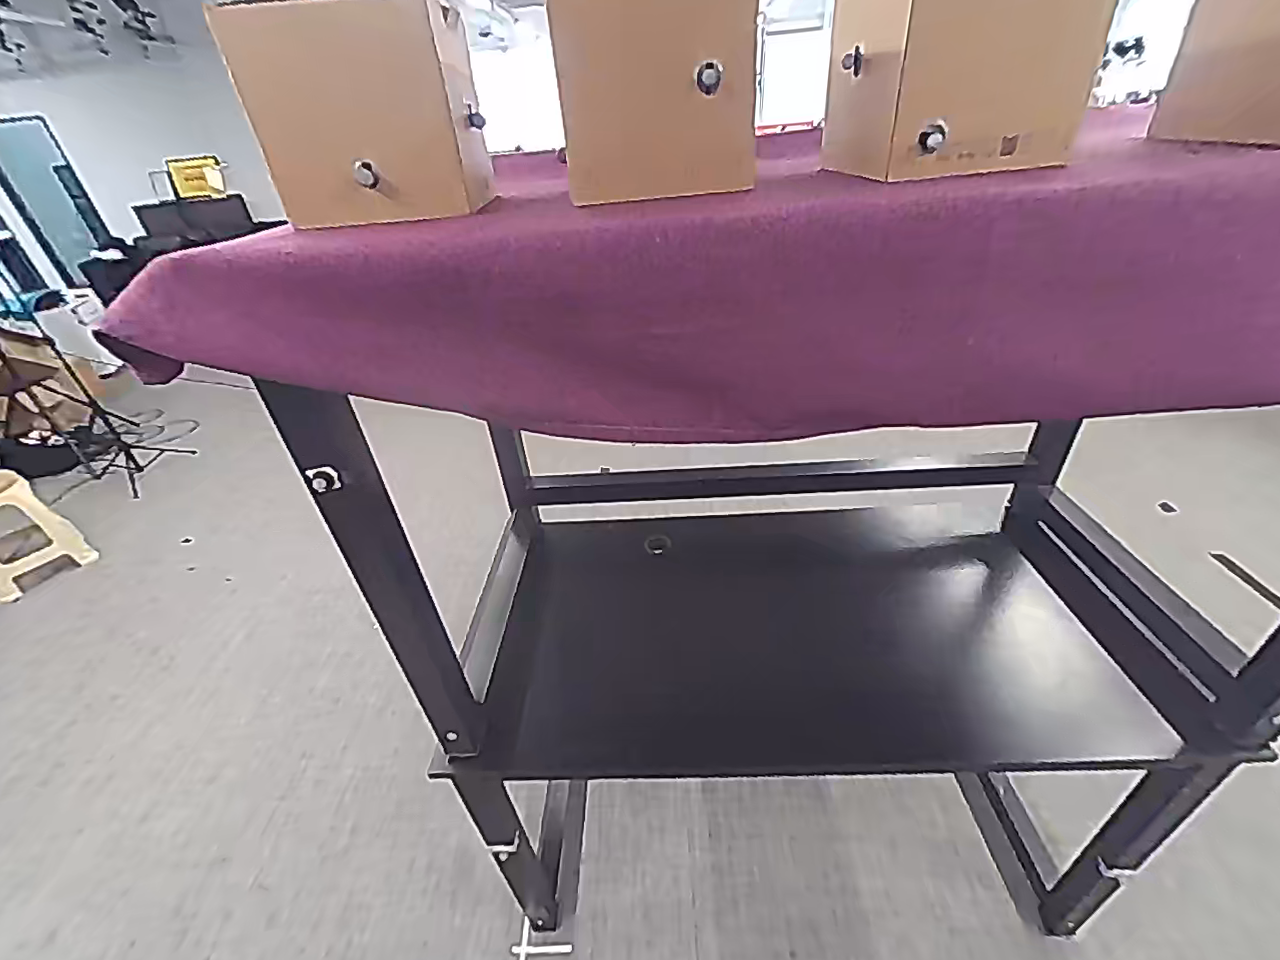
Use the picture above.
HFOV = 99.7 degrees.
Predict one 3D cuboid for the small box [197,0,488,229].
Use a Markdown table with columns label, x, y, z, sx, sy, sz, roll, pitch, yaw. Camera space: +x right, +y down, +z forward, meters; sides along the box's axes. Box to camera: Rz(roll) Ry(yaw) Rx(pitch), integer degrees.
| label | x | y | z | sx | sy | sz | roll | pitch | yaw |
| --- | --- | --- | --- | --- | --- | --- | --- | --- | --- |
| small box | -0.259 | -0.354 | 0.531 | 0.179 | 0.176 | 0.168 | -5 | 33 | -2 |

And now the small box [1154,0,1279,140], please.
| label | x | y | z | sx | sy | sz | roll | pitch | yaw |
| --- | --- | --- | --- | --- | --- | --- | --- | --- | --- |
| small box | 0.609 | -0.395 | 0.461 | 0.168 | 0.176 | 0.179 | -2 | 33 | 7 |

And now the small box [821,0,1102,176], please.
| label | x | y | z | sx | sy | sz | roll | pitch | yaw |
| --- | --- | --- | --- | --- | --- | --- | --- | --- | --- |
| small box | 0.279 | -0.383 | 0.496 | 0.168 | 0.176 | 0.179 | -6 | 33 | -1 |

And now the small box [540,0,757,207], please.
| label | x | y | z | sx | sy | sz | roll | pitch | yaw |
| --- | --- | --- | --- | --- | --- | --- | --- | --- | --- |
| small box | 0.009 | -0.377 | 0.529 | 0.179 | 0.176 | 0.168 | -5 | 33 | 1 |
